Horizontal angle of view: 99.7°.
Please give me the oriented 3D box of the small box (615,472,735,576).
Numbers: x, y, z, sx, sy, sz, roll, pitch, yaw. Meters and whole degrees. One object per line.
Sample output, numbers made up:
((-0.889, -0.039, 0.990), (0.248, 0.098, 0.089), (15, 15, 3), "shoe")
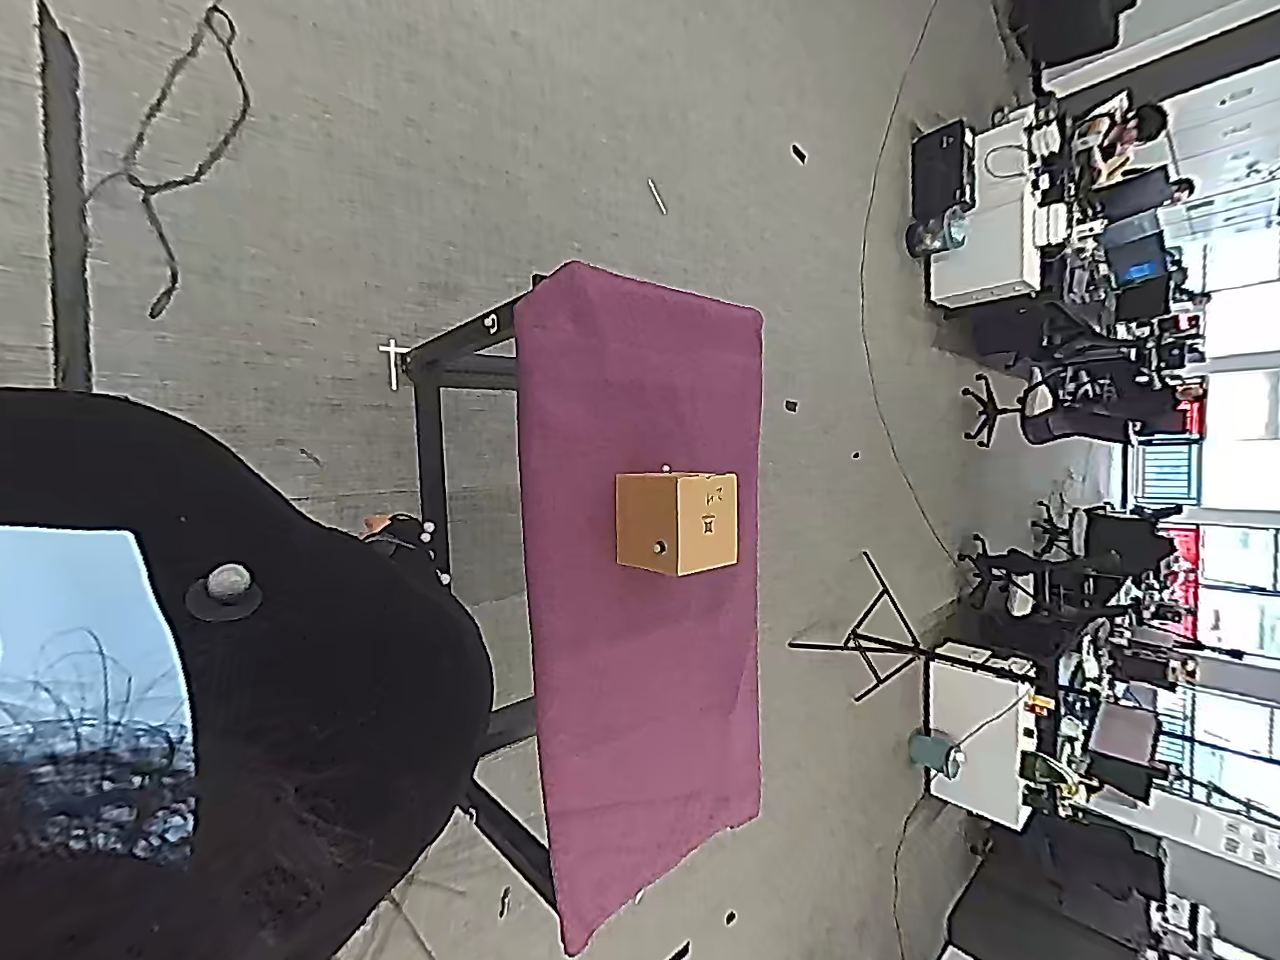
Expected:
((0.064, 0.075, 1.039), (0.168, 0.176, 0.179), (-2, 93, -43), "small box")
